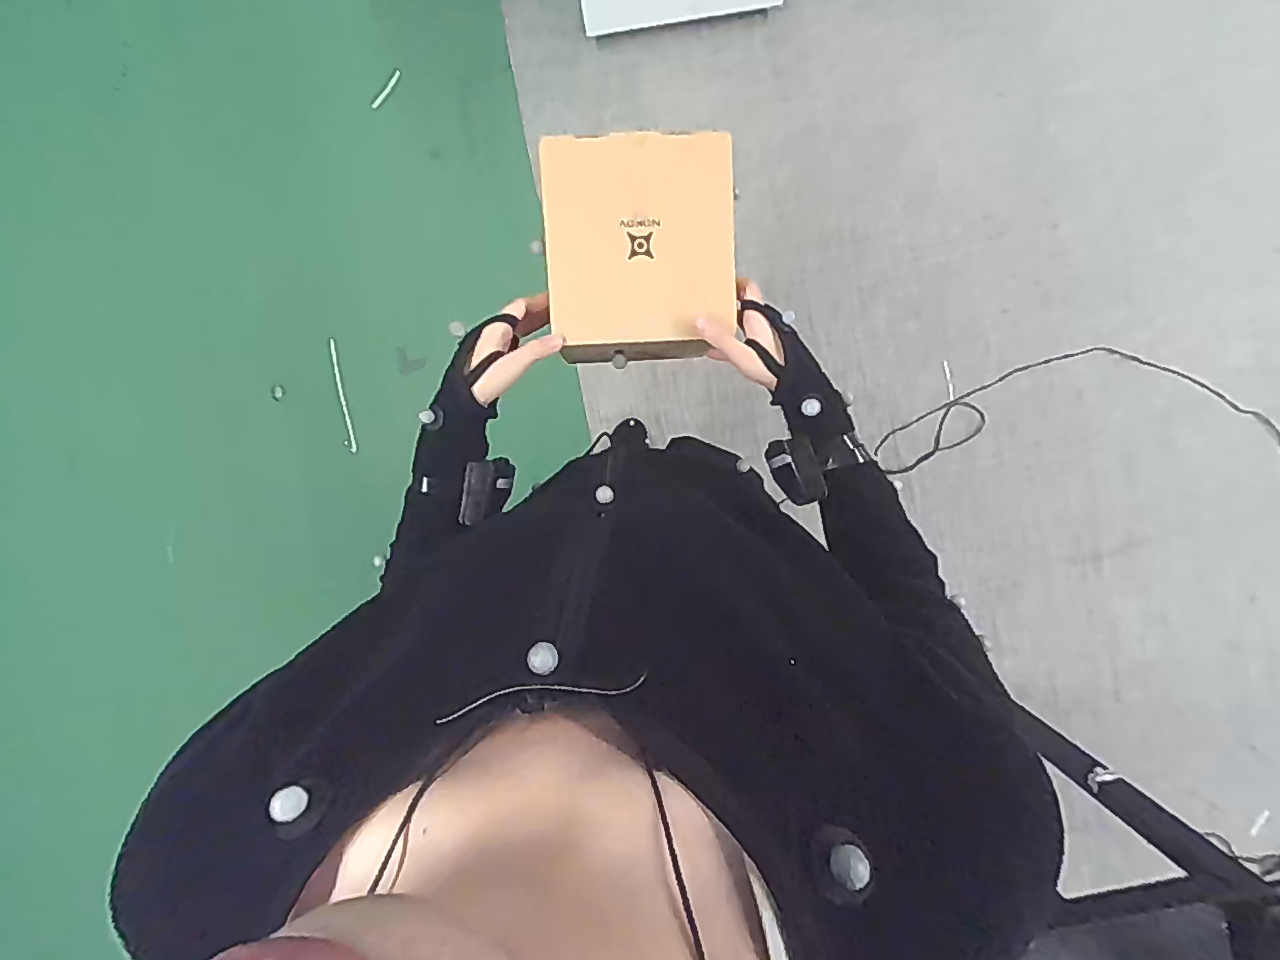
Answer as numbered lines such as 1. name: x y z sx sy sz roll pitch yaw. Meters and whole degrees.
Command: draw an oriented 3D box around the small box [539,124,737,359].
1. small box: -0.003 -0.216 0.537 0.168 0.176 0.179 -4 96 -3
